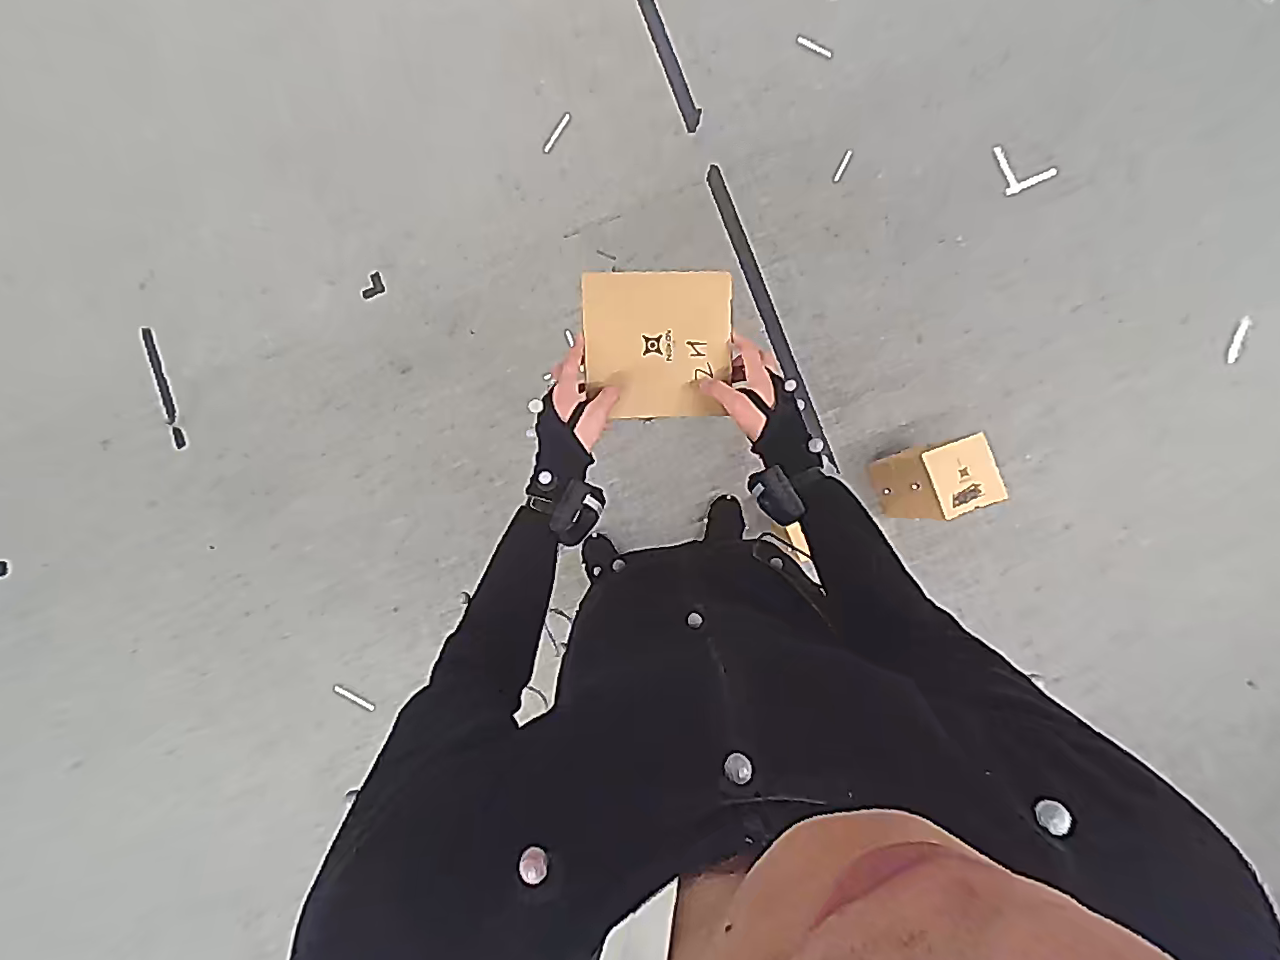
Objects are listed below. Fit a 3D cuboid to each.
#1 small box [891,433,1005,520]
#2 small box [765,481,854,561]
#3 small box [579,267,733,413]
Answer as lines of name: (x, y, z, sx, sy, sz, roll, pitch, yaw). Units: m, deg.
small box: (0.788, -0.006, 1.399, 0.168, 0.176, 0.179, -20, 86, -1)
small box: (0.480, 0.118, 1.563, 0.168, 0.176, 0.179, -24, 88, 0)
small box: (0.014, -0.170, 0.697, 0.179, 0.176, 0.168, -3, 99, -6)
